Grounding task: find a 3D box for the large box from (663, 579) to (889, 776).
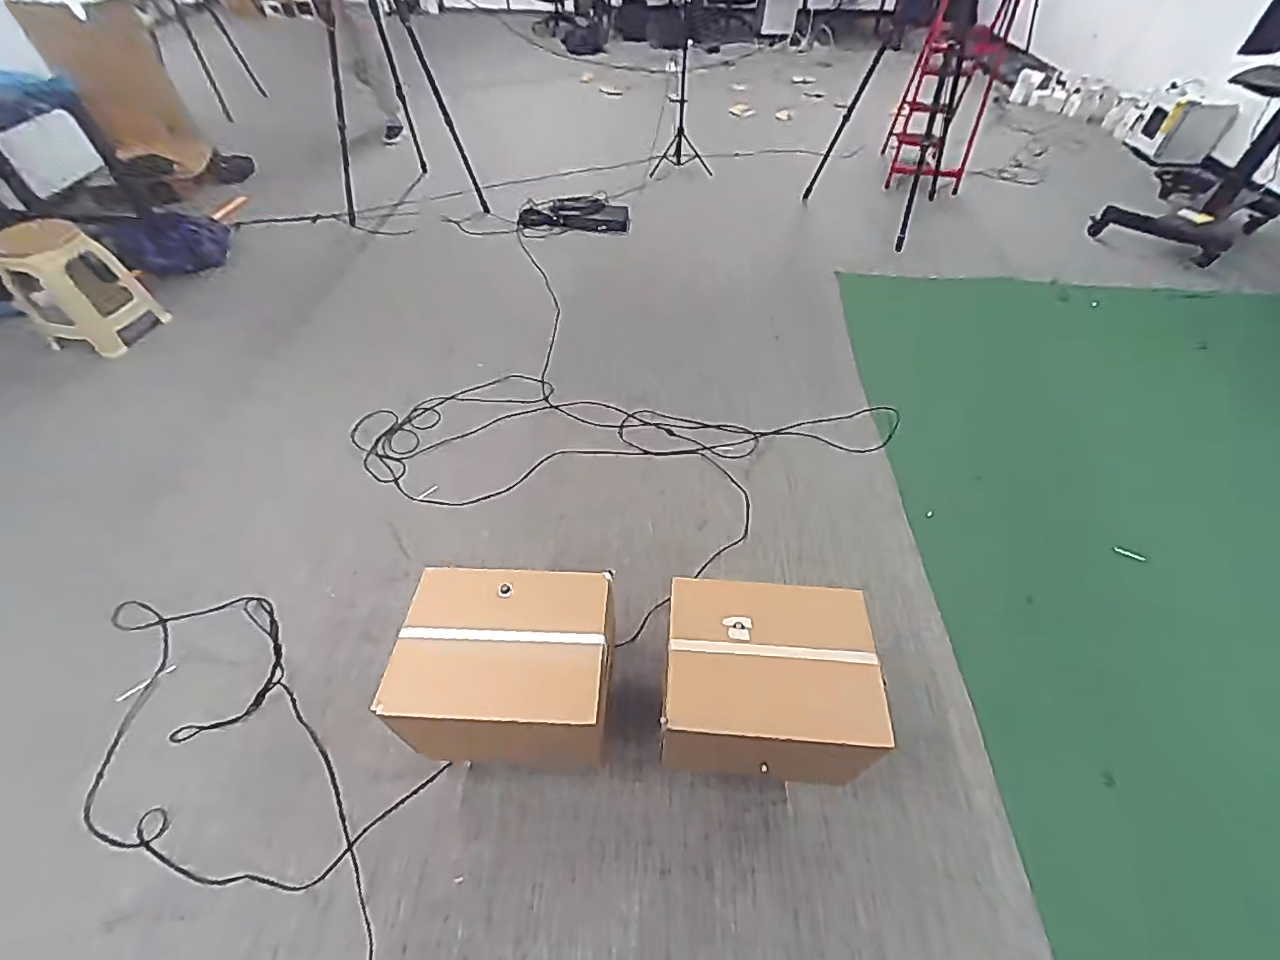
[{"bbox_3d":[0.262,0.437,1.181,0.408,0.320,0.320,4,49,3],"label":"large box"}]
